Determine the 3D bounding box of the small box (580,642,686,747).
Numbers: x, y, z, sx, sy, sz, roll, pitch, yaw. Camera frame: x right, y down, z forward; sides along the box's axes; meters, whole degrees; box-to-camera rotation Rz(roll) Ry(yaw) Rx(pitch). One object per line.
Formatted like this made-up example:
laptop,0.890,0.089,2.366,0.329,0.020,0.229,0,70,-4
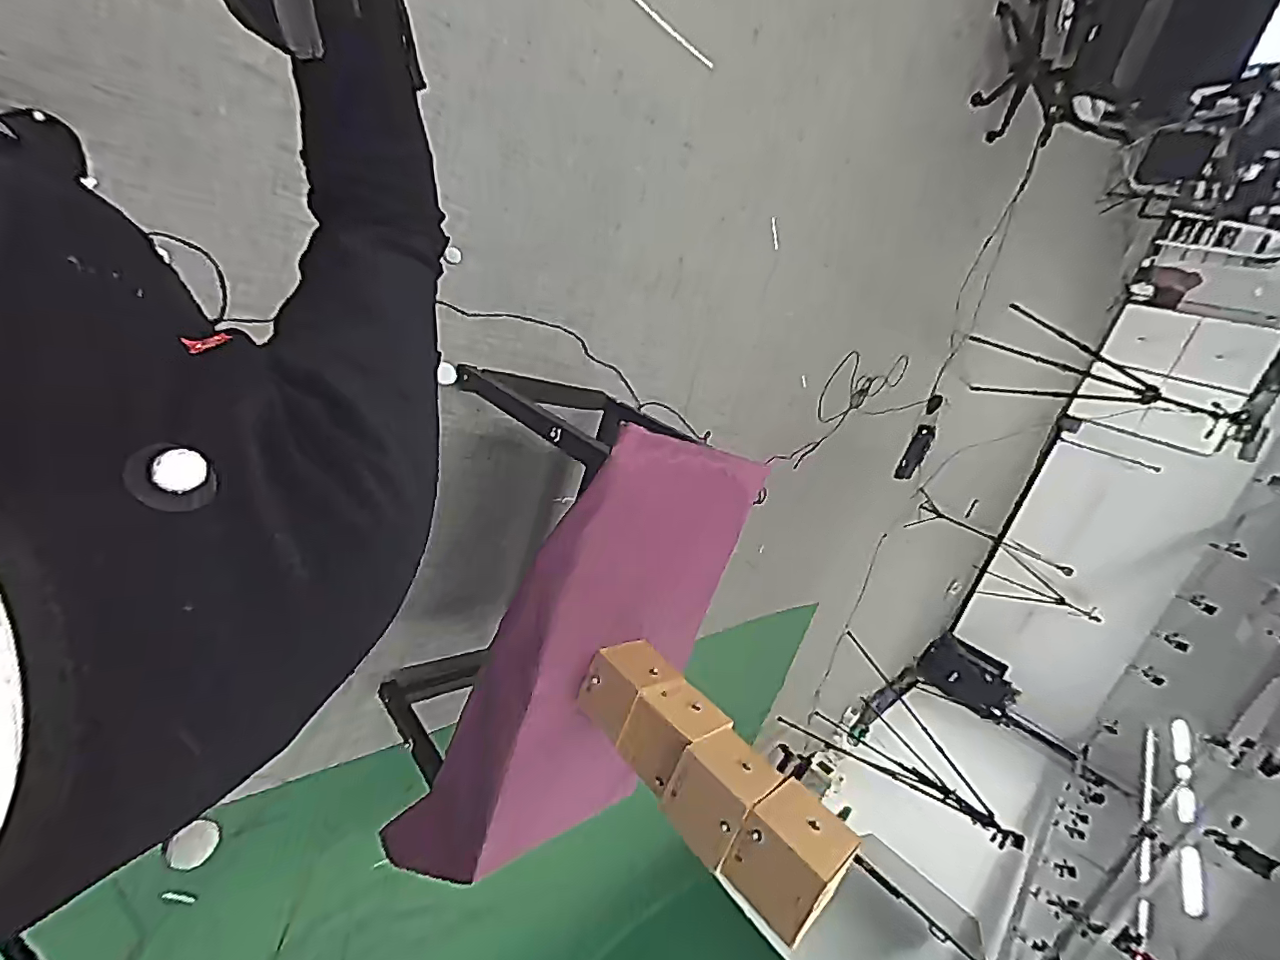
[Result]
small box,-0.020,0.532,1.371,0.179,0.176,0.168,8,107,-48

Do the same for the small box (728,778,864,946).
small box,0.301,0.732,1.059,0.179,0.176,0.168,3,111,-49

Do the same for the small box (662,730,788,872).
small box,0.180,0.667,1.152,0.179,0.176,0.168,9,106,-50

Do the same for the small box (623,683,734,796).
small box,0.086,0.603,1.272,0.168,0.176,0.179,6,109,-48
